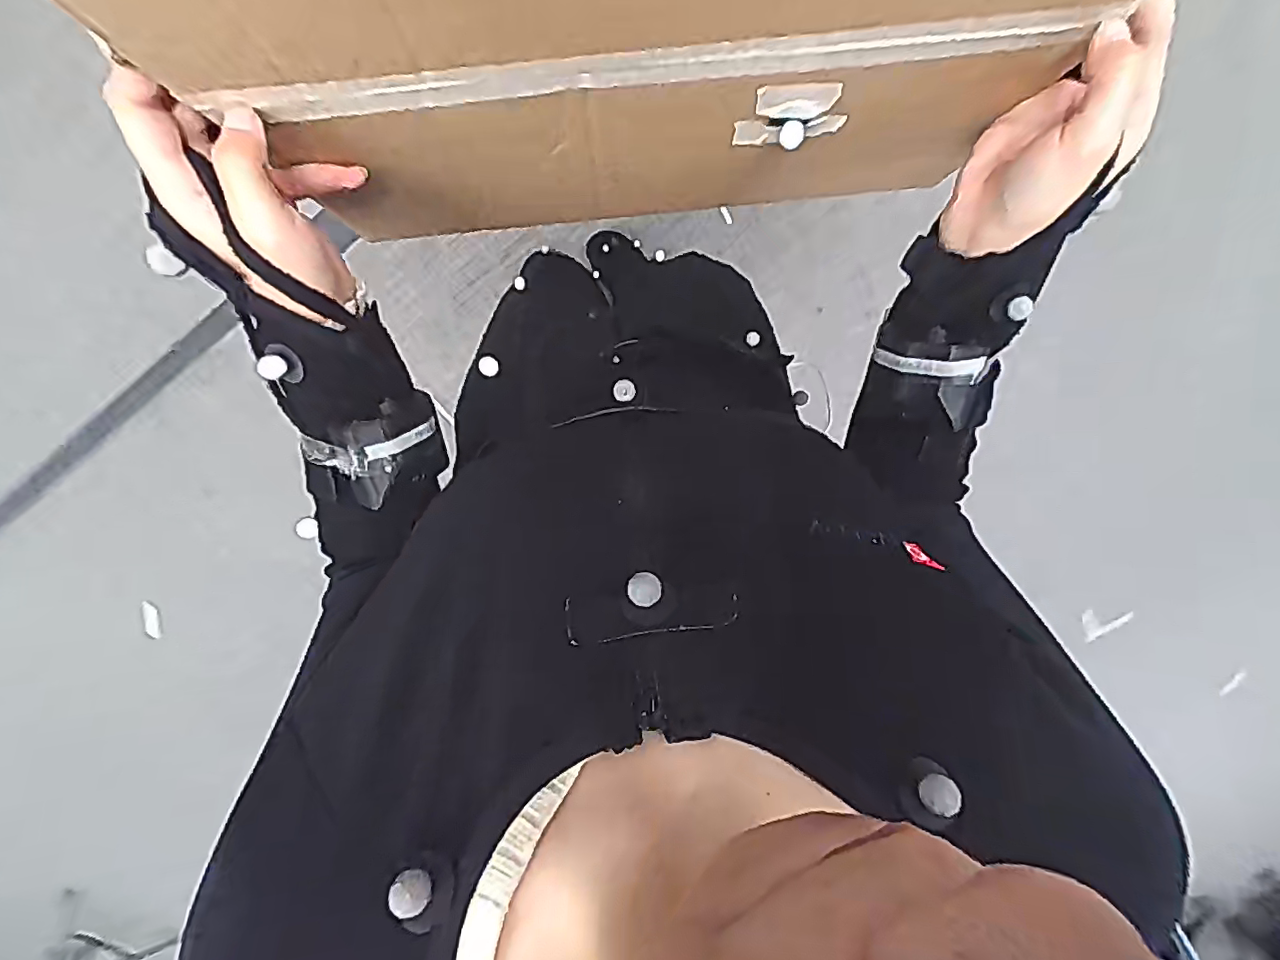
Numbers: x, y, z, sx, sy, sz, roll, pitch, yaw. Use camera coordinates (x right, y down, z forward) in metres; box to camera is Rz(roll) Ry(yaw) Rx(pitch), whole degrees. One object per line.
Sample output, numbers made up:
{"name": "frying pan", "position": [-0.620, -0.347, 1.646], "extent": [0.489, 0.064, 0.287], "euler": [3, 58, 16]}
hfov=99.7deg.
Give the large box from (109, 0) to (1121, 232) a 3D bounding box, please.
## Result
{"name": "large box", "position": [-0.006, -0.339, 0.229], "extent": [0.408, 0.320, 0.320], "euler": [-6, 95, -1]}
